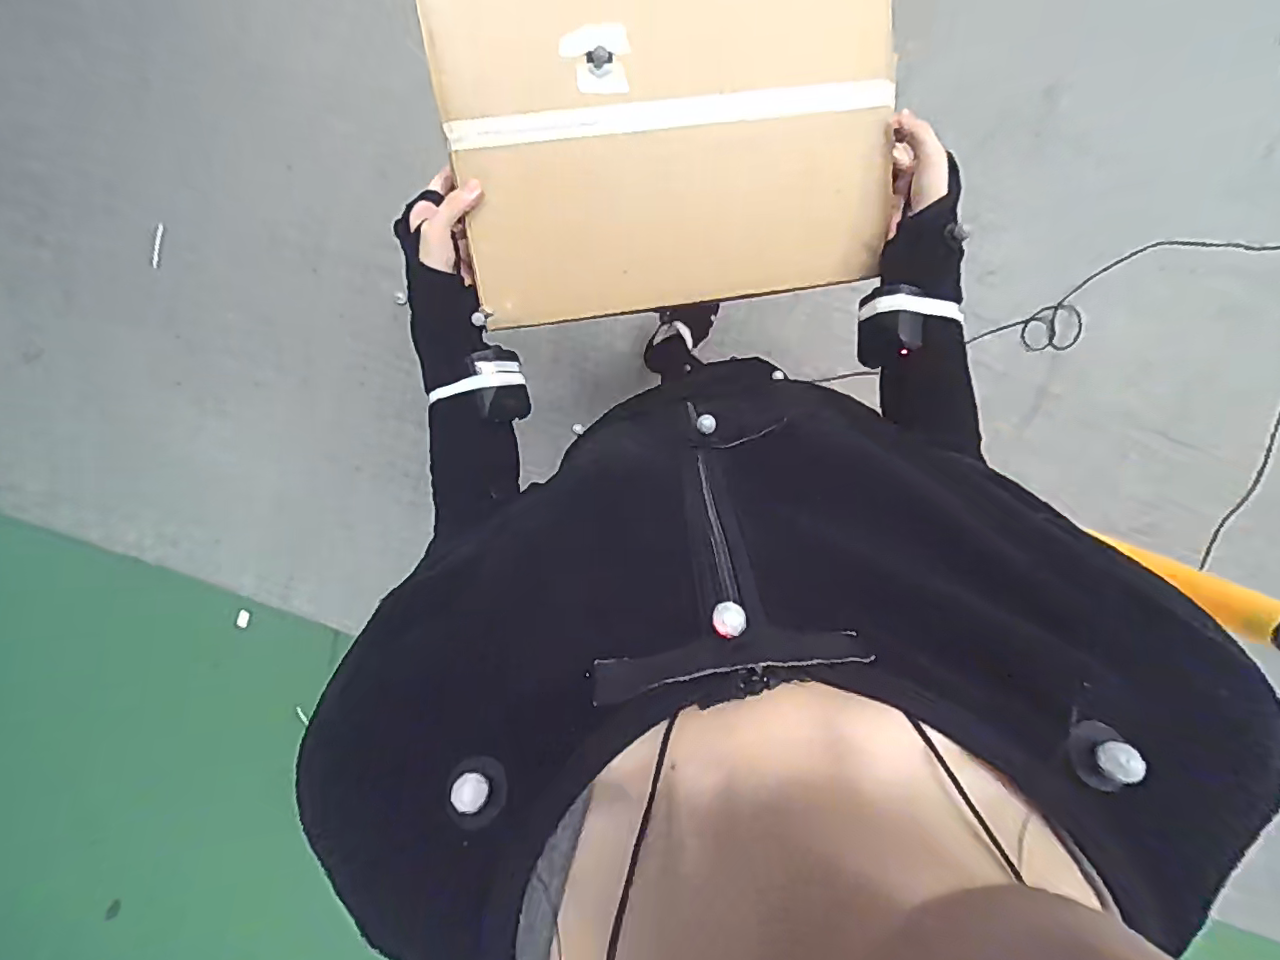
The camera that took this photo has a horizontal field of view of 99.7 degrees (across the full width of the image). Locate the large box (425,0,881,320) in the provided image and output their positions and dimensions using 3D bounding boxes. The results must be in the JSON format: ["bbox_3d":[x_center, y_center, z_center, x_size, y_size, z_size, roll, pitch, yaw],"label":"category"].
[{"bbox_3d":[0.010,-0.374,0.631,0.408,0.320,0.320,-9,107,-7],"label":"large box"}]
